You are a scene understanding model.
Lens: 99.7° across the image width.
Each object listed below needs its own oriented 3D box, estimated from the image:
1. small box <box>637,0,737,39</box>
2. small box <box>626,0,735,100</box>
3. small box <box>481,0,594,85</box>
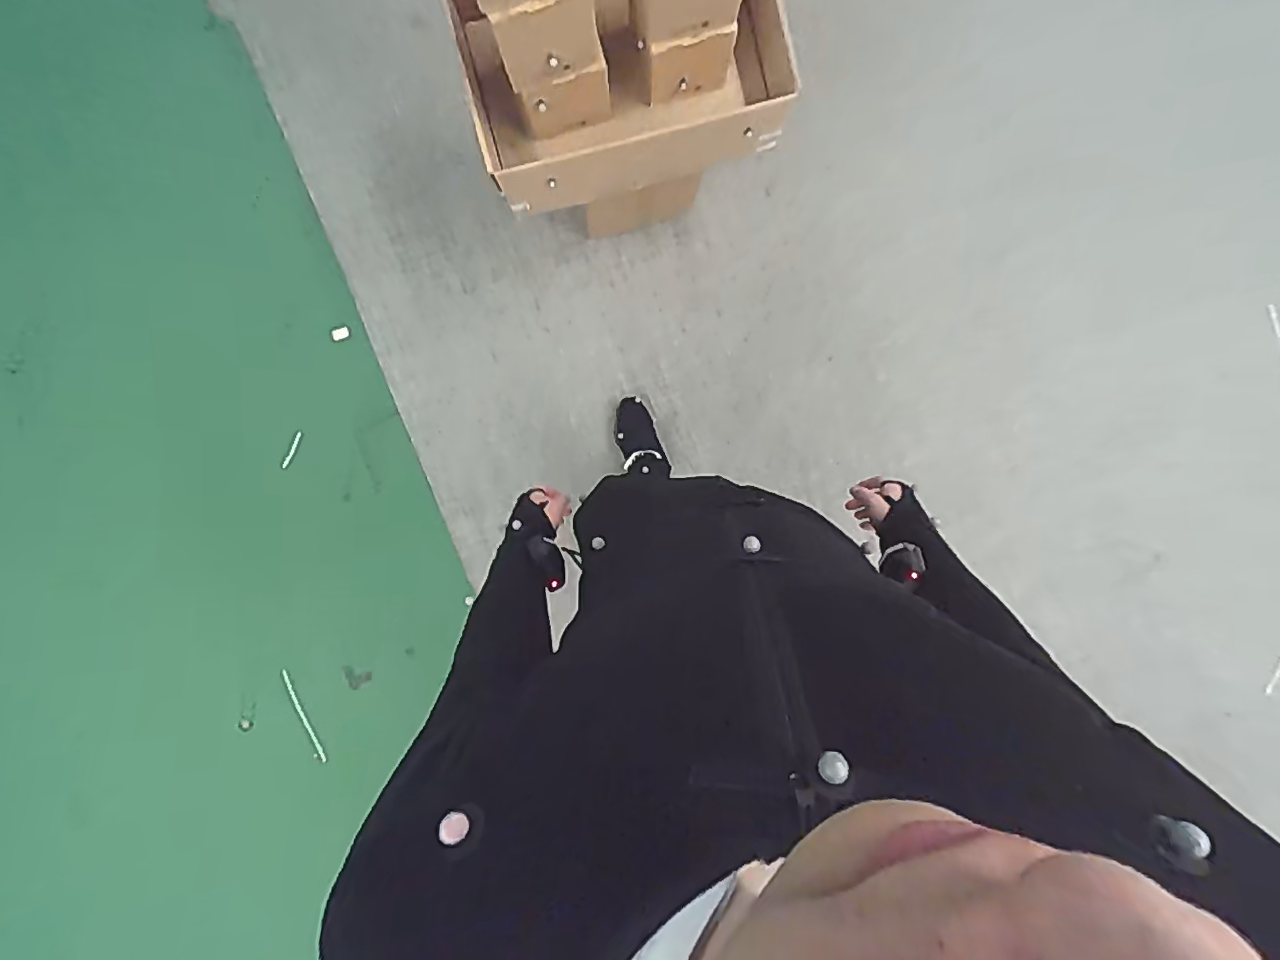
[{"bbox_3d":[0.071,-0.880,0.881,0.168,0.176,0.179,-13,96,0],"label":"small box"},{"bbox_3d":[0.070,-0.888,1.045,0.168,0.176,0.179,-15,97,0],"label":"small box"},{"bbox_3d":[-0.180,-0.803,0.880,0.168,0.176,0.179,-18,96,1],"label":"small box"}]
